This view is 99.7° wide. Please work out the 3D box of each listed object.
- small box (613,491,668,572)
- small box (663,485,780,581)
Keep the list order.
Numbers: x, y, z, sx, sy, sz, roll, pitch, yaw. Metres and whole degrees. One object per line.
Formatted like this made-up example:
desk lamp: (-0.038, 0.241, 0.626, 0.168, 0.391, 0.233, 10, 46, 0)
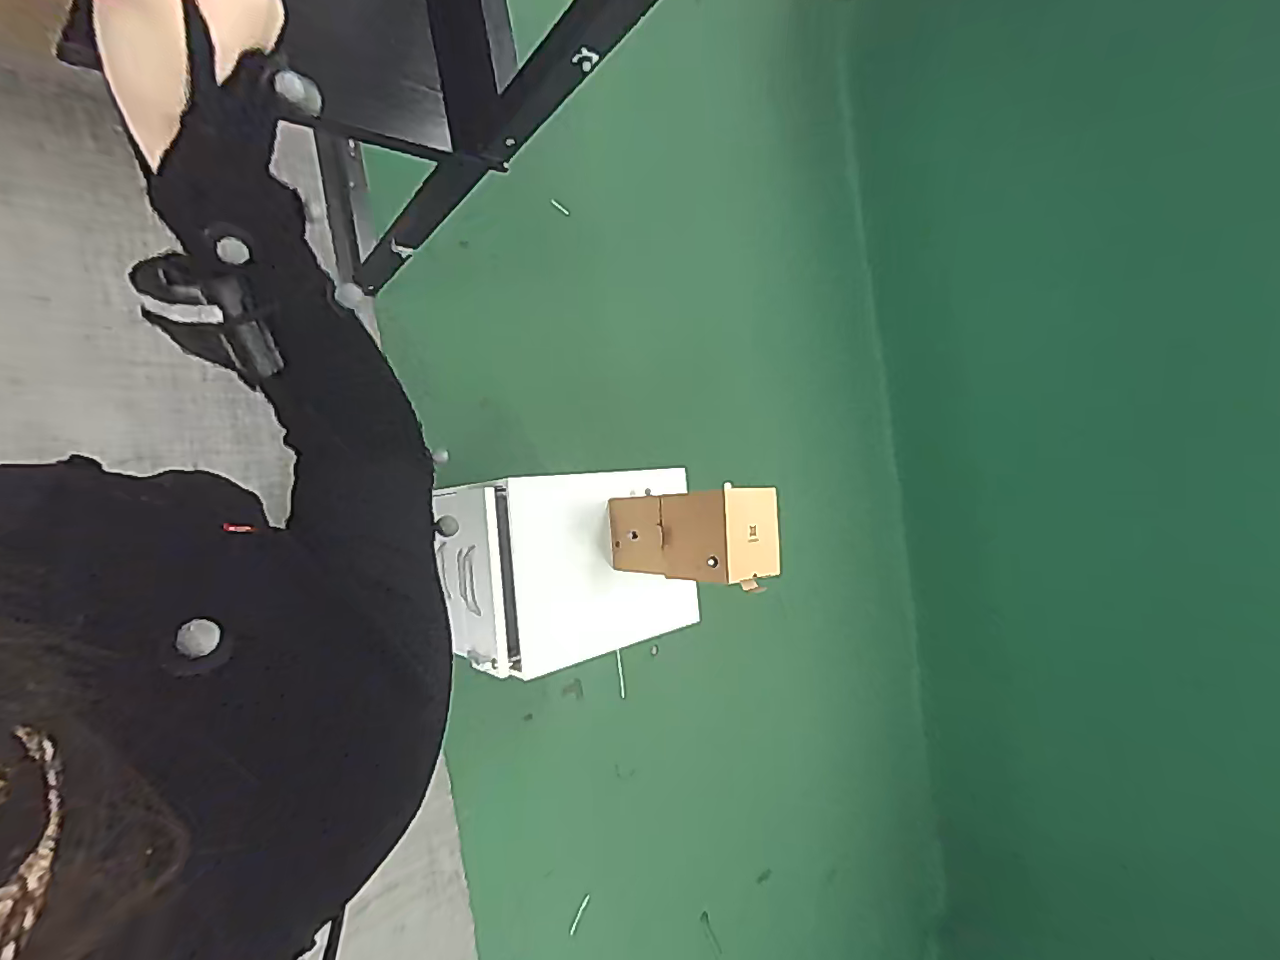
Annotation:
small box: (0.053, 0.109, 1.205, 0.179, 0.176, 0.168, -3, 89, -42)
small box: (0.160, 0.102, 1.082, 0.168, 0.176, 0.179, 0, 87, -42)
